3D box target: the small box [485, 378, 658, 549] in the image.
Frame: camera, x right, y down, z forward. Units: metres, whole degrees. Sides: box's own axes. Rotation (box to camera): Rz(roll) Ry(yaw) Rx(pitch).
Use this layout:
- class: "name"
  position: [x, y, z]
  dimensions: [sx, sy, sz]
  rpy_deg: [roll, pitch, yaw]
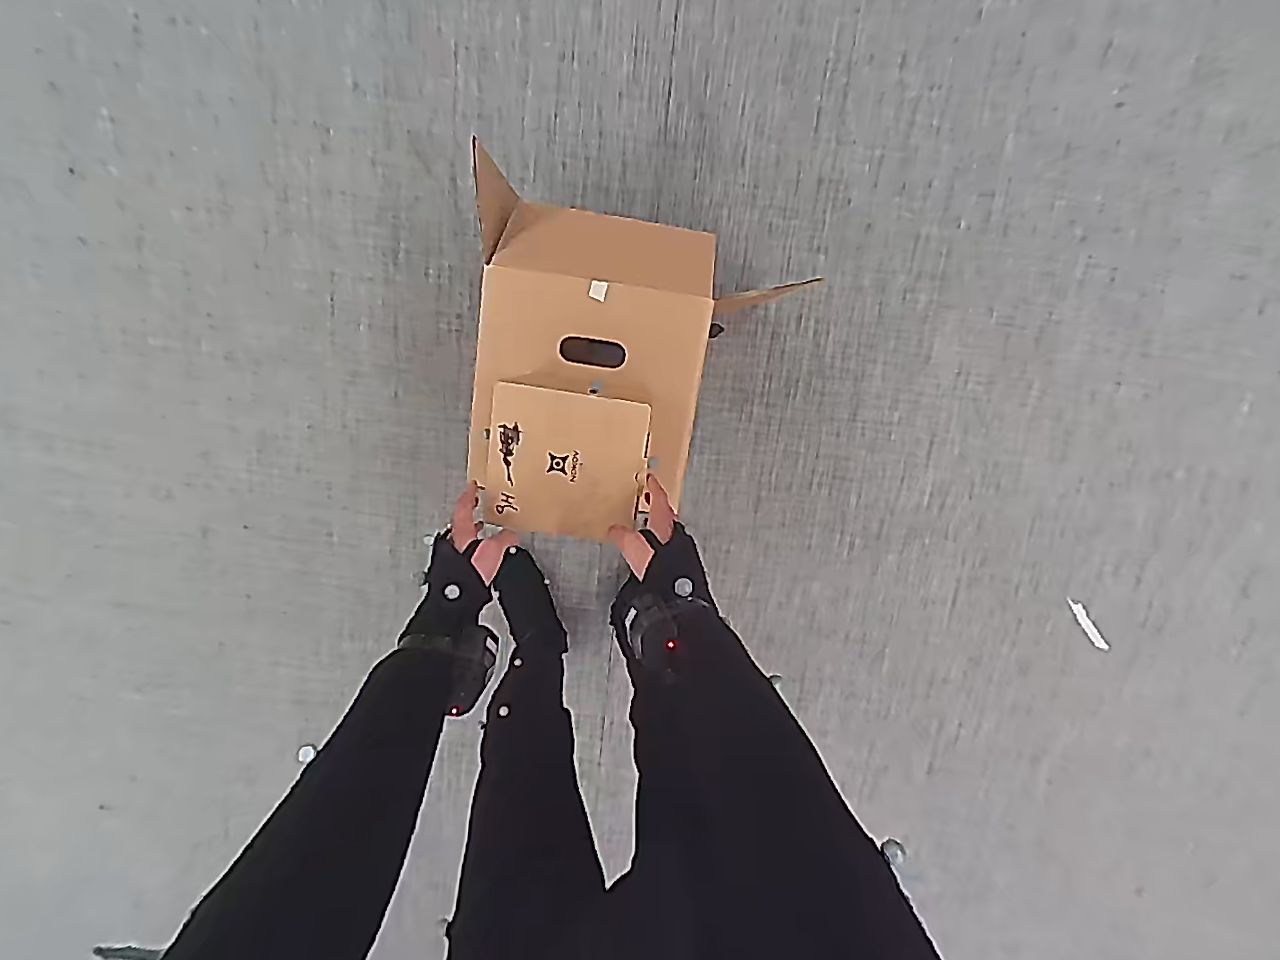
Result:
- class: "small box"
  position: [-0.078, -0.030, 0.672]
  dimensions: [0.179, 0.176, 0.168]
  rpy_deg: [9, 104, -2]
